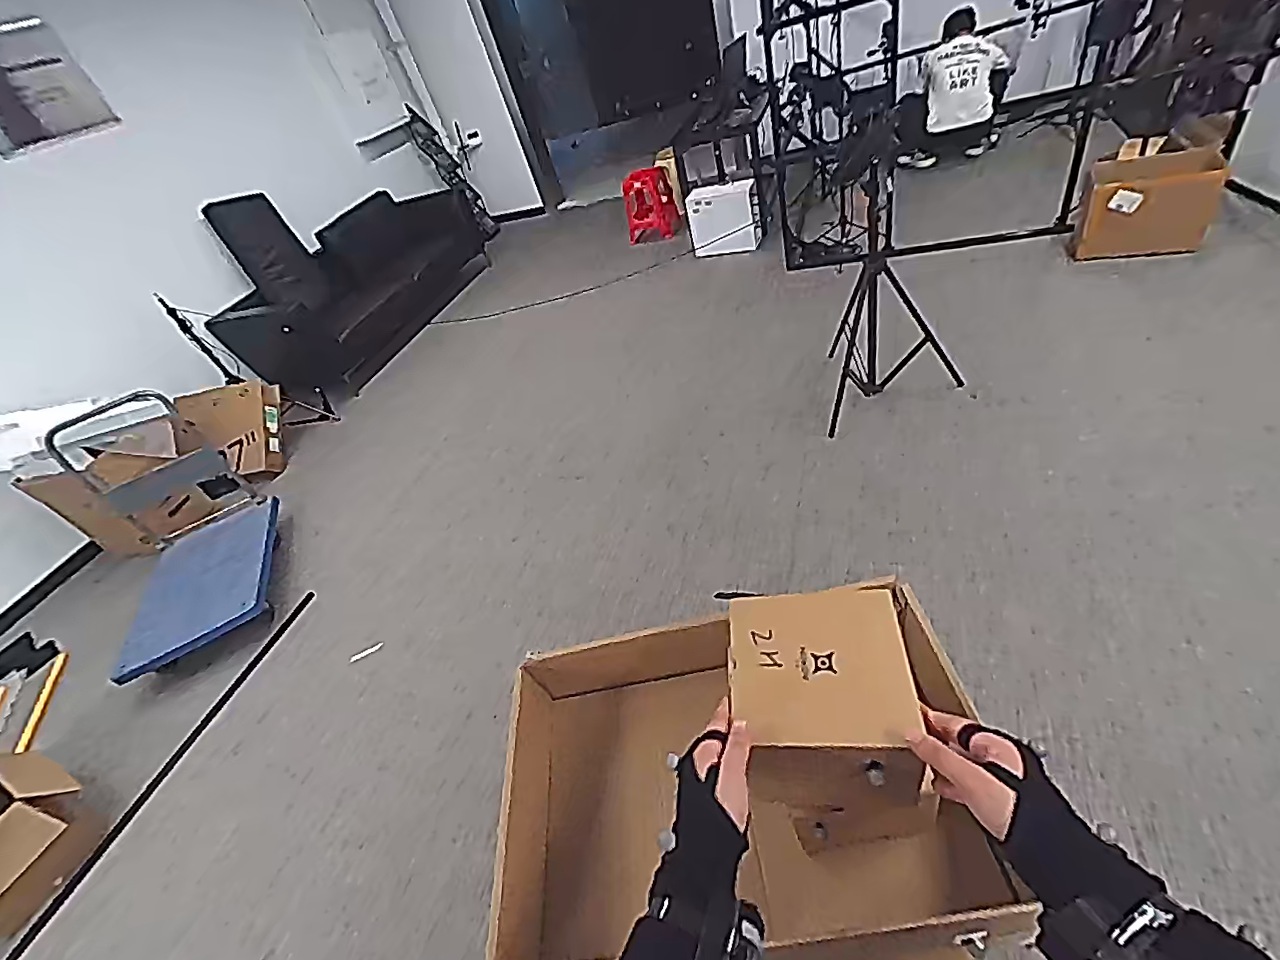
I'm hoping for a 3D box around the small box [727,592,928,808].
[{"bbox_3d":[0.196,0.243,0.596,0.179,0.176,0.168,-7,42,15],"label":"small box"}]
